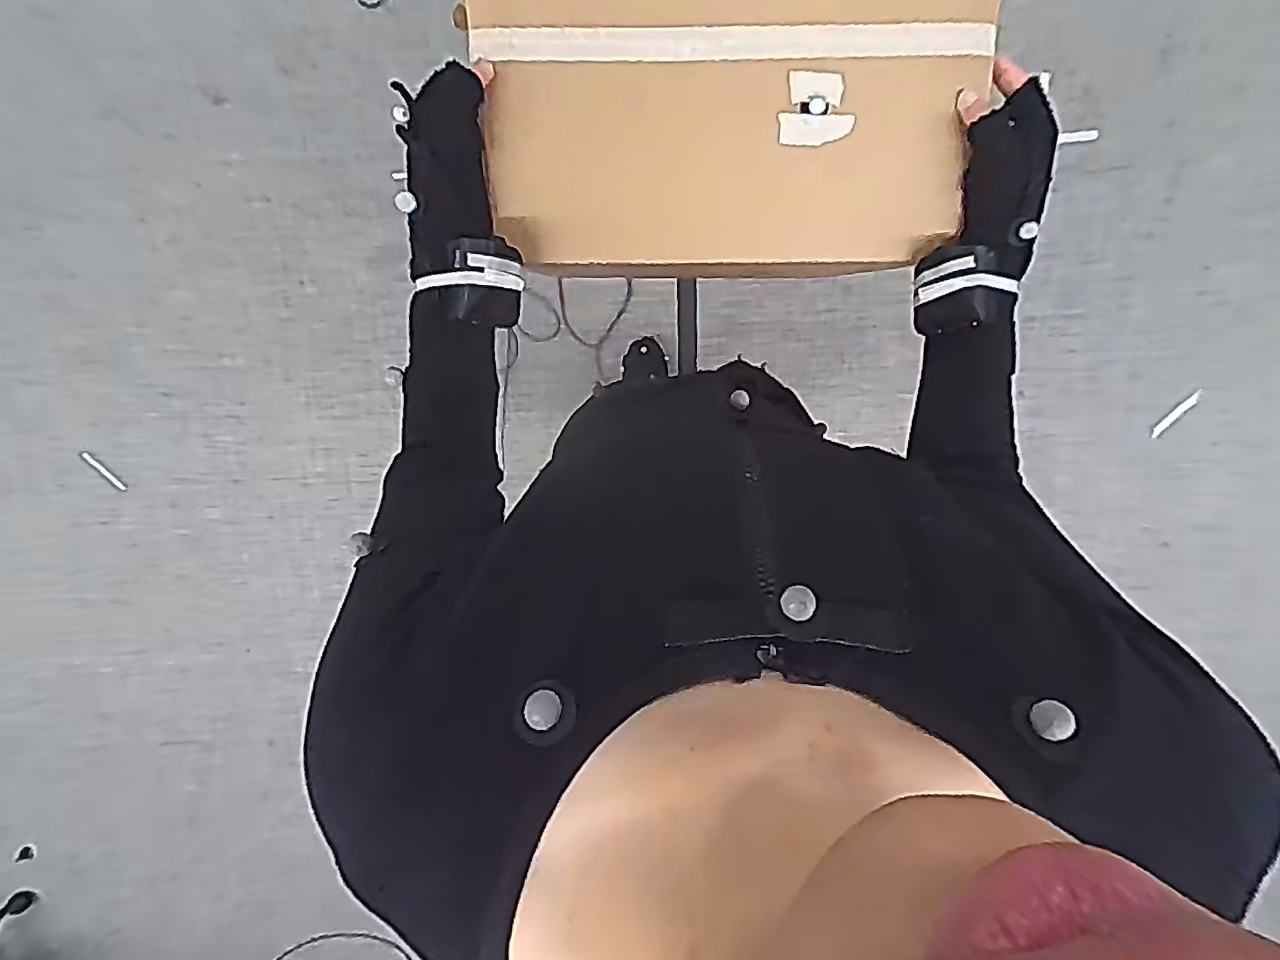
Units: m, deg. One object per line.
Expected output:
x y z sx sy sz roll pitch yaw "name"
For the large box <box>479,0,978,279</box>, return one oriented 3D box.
0.068 -0.392 0.582 0.408 0.320 0.320 -1 109 -1 "large box"
